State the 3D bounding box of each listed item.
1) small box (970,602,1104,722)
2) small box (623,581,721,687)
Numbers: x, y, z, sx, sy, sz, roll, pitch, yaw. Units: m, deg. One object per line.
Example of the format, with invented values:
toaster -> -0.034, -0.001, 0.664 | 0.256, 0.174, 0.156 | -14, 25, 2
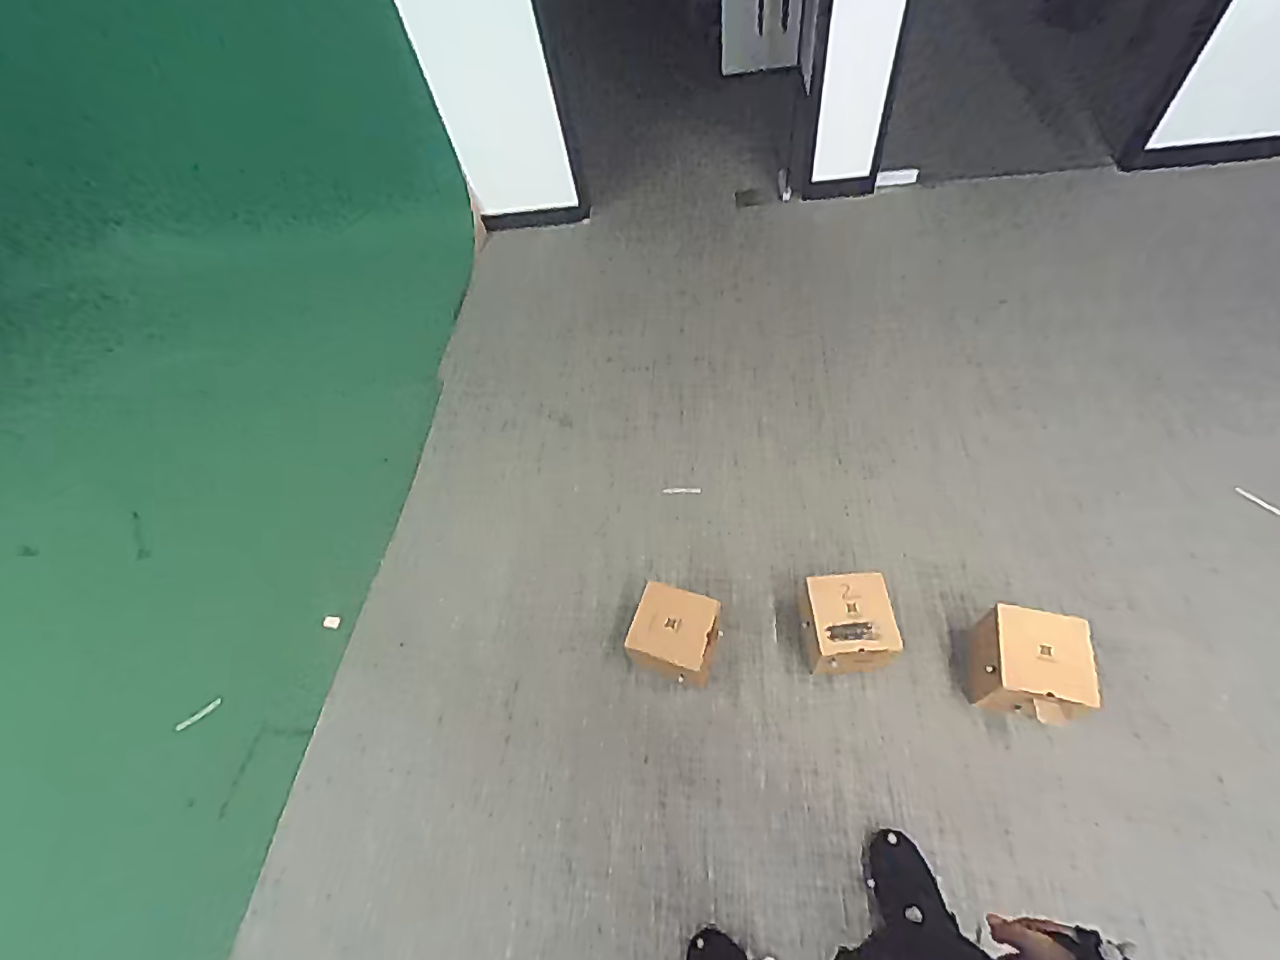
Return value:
small box -> 0.803, 0.378, 1.117 | 0.168, 0.176, 0.179 | 9, 59, 15
small box -> 0.083, 0.359, 1.246 | 0.179, 0.176, 0.168 | 13, 58, 19
